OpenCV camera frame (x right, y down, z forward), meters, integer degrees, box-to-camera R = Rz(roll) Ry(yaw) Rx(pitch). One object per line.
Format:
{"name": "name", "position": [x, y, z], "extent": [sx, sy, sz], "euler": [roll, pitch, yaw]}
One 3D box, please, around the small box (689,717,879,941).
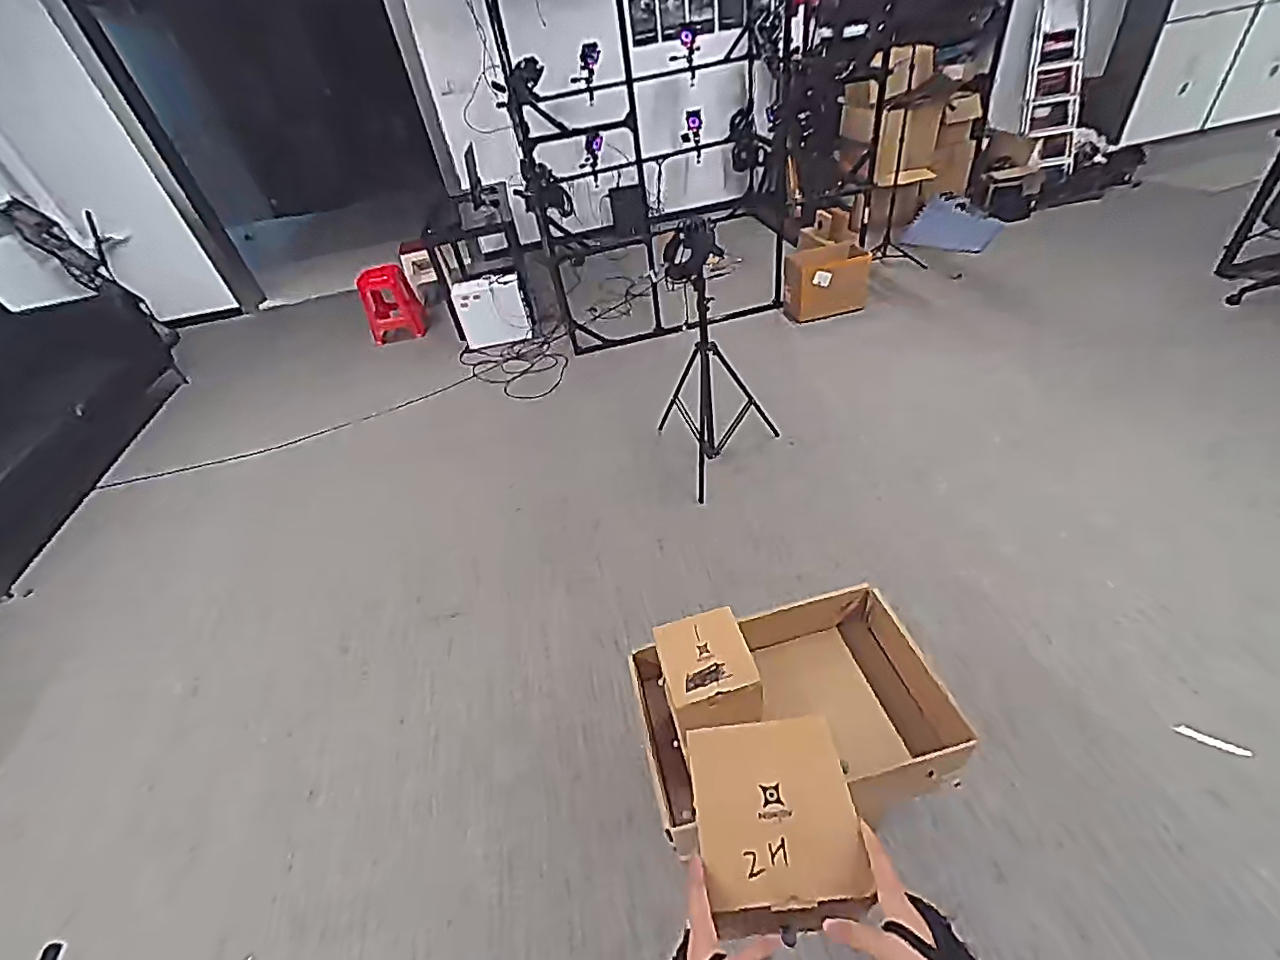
{"name": "small box", "position": [0.150, 0.402, 0.623], "extent": [0.168, 0.176, 0.179], "euler": [-8, 43, 3]}

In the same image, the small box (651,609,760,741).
{"name": "small box", "position": [0.131, 0.391, 1.068], "extent": [0.168, 0.176, 0.179], "euler": [-15, 40, -4]}
